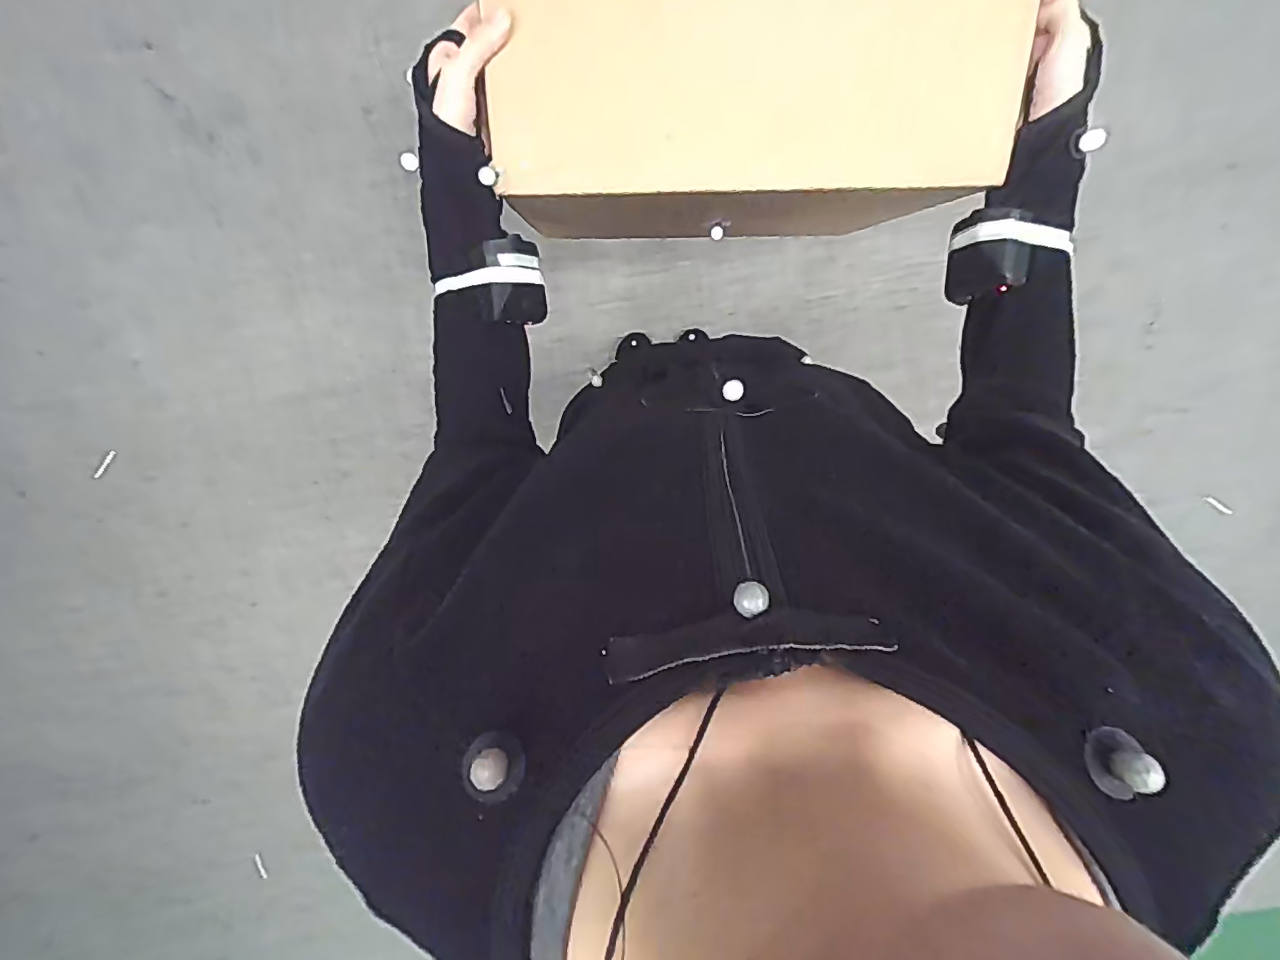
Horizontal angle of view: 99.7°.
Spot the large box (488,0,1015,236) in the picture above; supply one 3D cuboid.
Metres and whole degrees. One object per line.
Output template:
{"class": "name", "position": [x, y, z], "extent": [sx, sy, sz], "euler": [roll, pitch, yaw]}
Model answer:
{"class": "large box", "position": [0.082, -0.429, 0.535], "extent": [0.408, 0.320, 0.320], "euler": [-2, 107, -1]}
